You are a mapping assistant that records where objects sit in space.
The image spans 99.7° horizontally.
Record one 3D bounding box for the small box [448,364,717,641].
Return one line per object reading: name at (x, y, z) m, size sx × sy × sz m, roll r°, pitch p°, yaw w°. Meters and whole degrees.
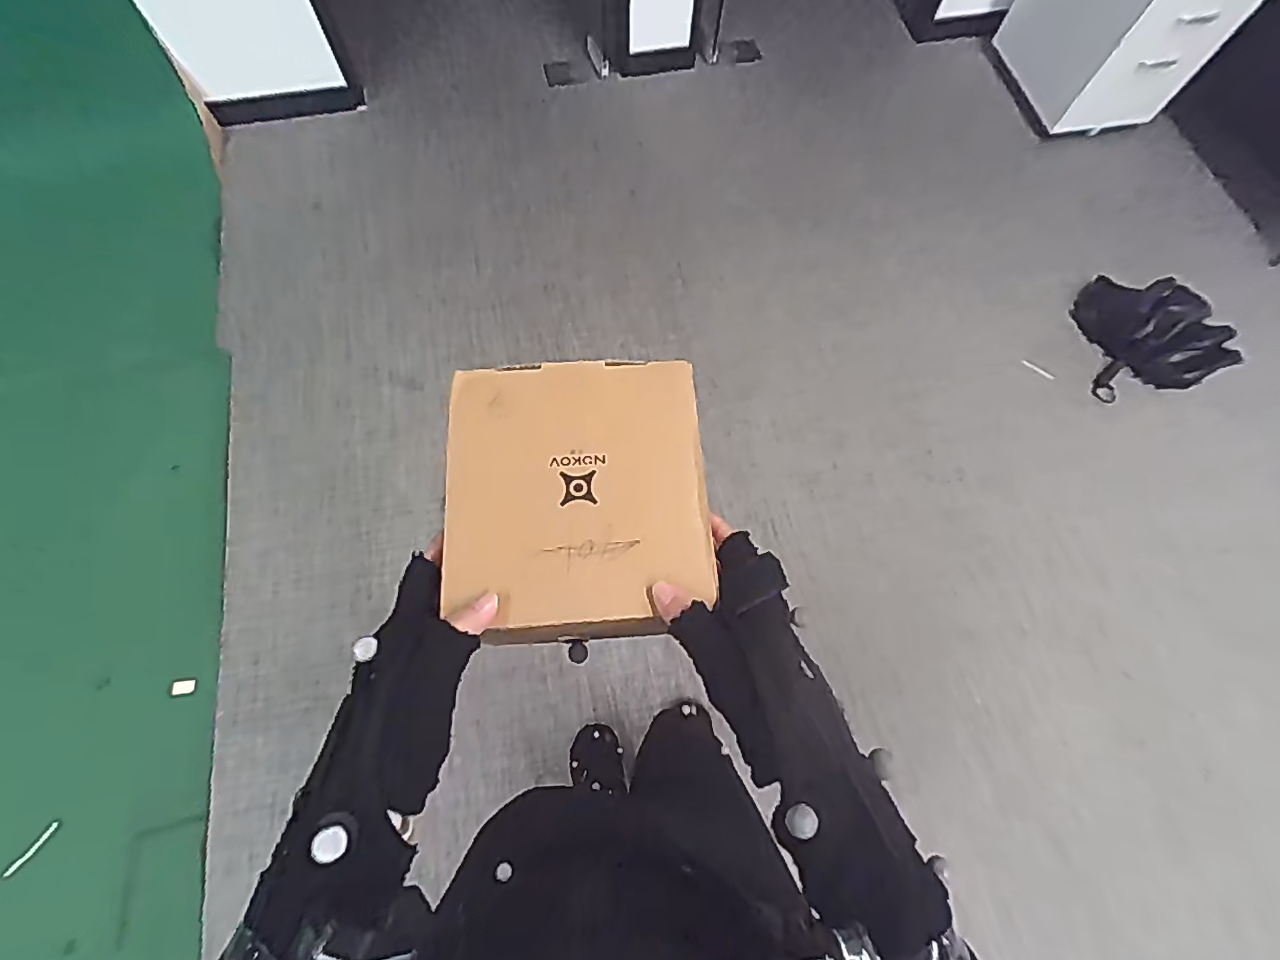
small box at (-0.043, 0.028, 0.430) m, size 0.168 × 0.176 × 0.179 m, roll -3°, pitch 71°, yaw -4°
